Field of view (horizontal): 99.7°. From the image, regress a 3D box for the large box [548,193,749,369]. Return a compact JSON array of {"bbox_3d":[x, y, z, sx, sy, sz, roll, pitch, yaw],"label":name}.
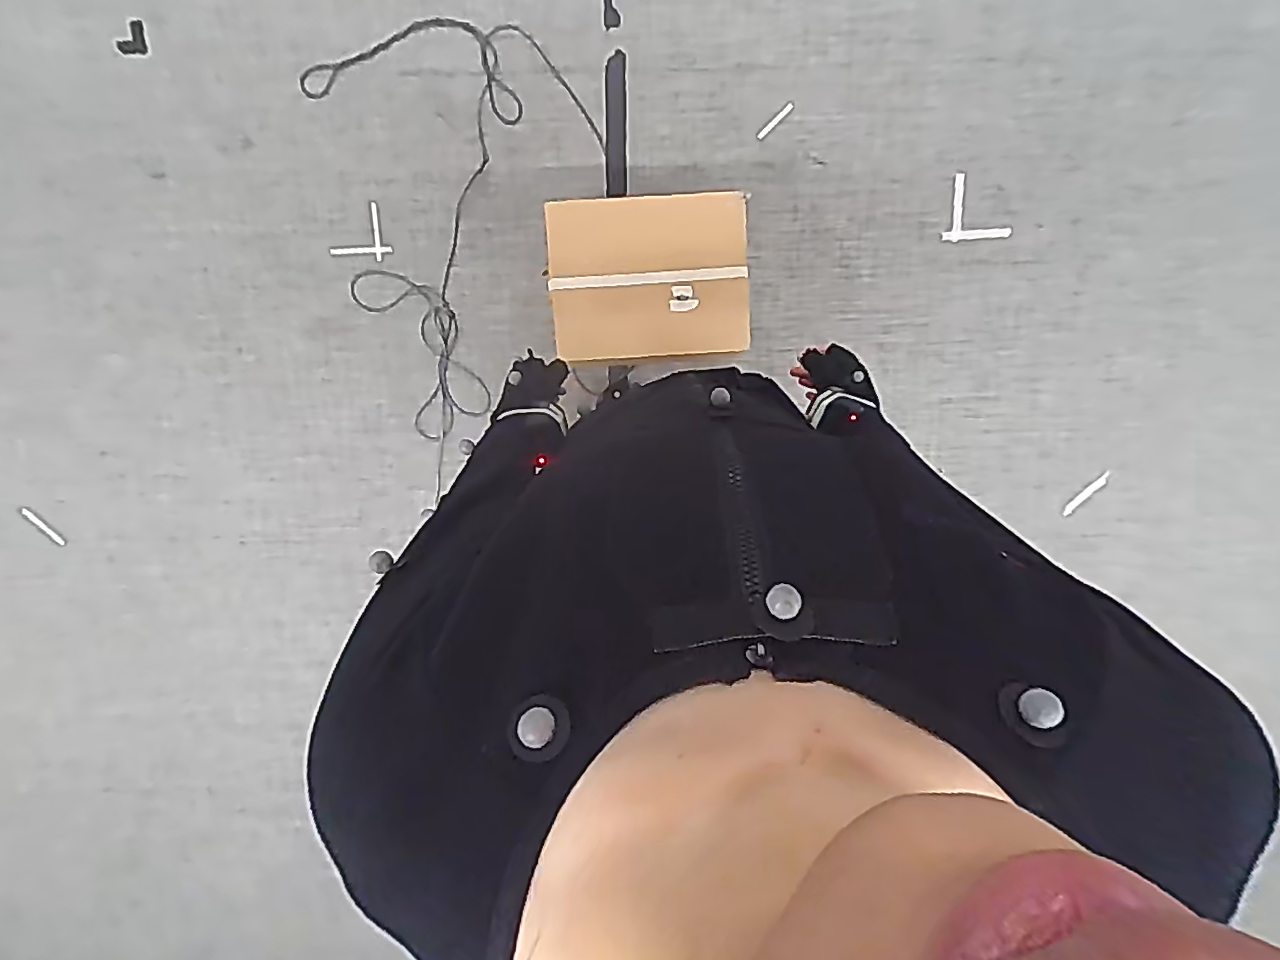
[{"bbox_3d":[0.016,-0.438,1.262,0.408,0.320,0.320,-4,100,-1],"label":"large box"}]
